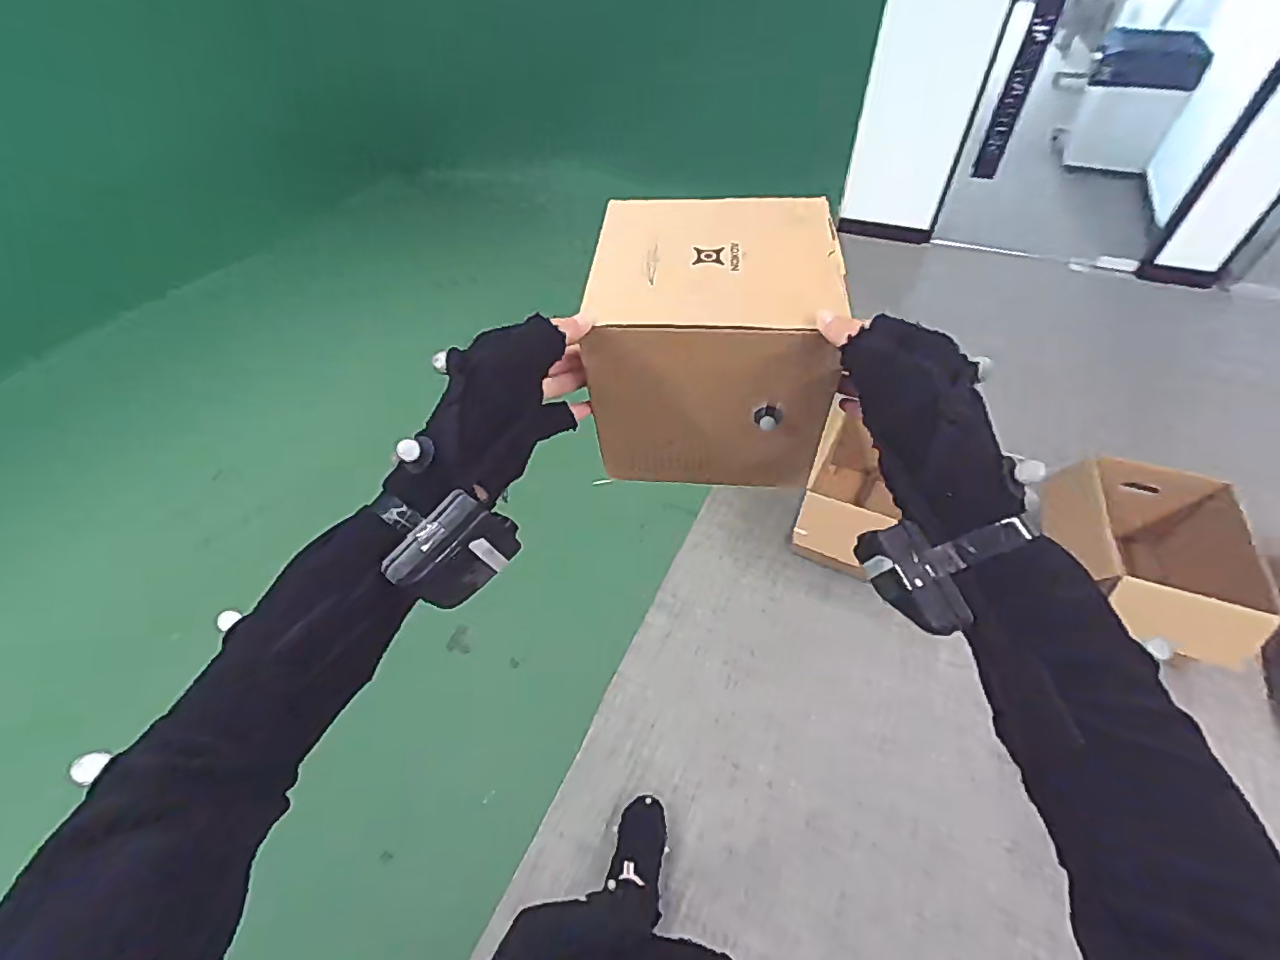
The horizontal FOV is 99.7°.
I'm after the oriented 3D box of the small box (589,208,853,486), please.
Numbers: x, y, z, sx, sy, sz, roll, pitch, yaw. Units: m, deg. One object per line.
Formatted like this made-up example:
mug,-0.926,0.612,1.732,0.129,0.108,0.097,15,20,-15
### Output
small box,0.064,-0.109,0.465,0.179,0.176,0.168,3,52,6
